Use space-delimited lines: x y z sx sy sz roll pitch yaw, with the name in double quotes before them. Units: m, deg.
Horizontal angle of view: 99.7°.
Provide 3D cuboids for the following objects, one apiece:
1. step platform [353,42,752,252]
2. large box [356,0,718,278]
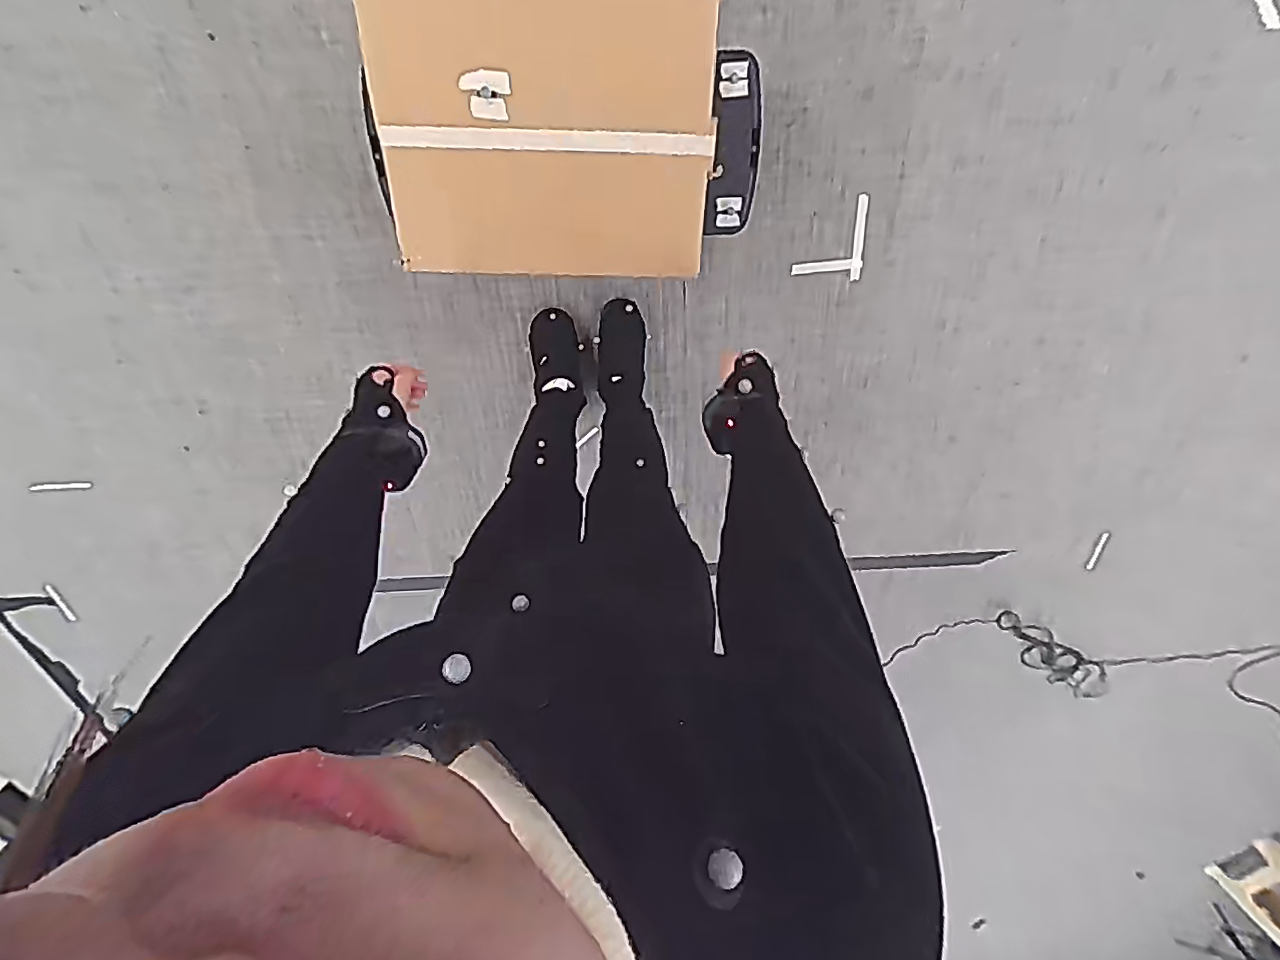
"step platform" -0.143 -0.596 0.995 0.684 0.204 0.286 3 120 -3
"large box" -0.114 -0.486 0.784 0.408 0.320 0.320 0 120 -2
